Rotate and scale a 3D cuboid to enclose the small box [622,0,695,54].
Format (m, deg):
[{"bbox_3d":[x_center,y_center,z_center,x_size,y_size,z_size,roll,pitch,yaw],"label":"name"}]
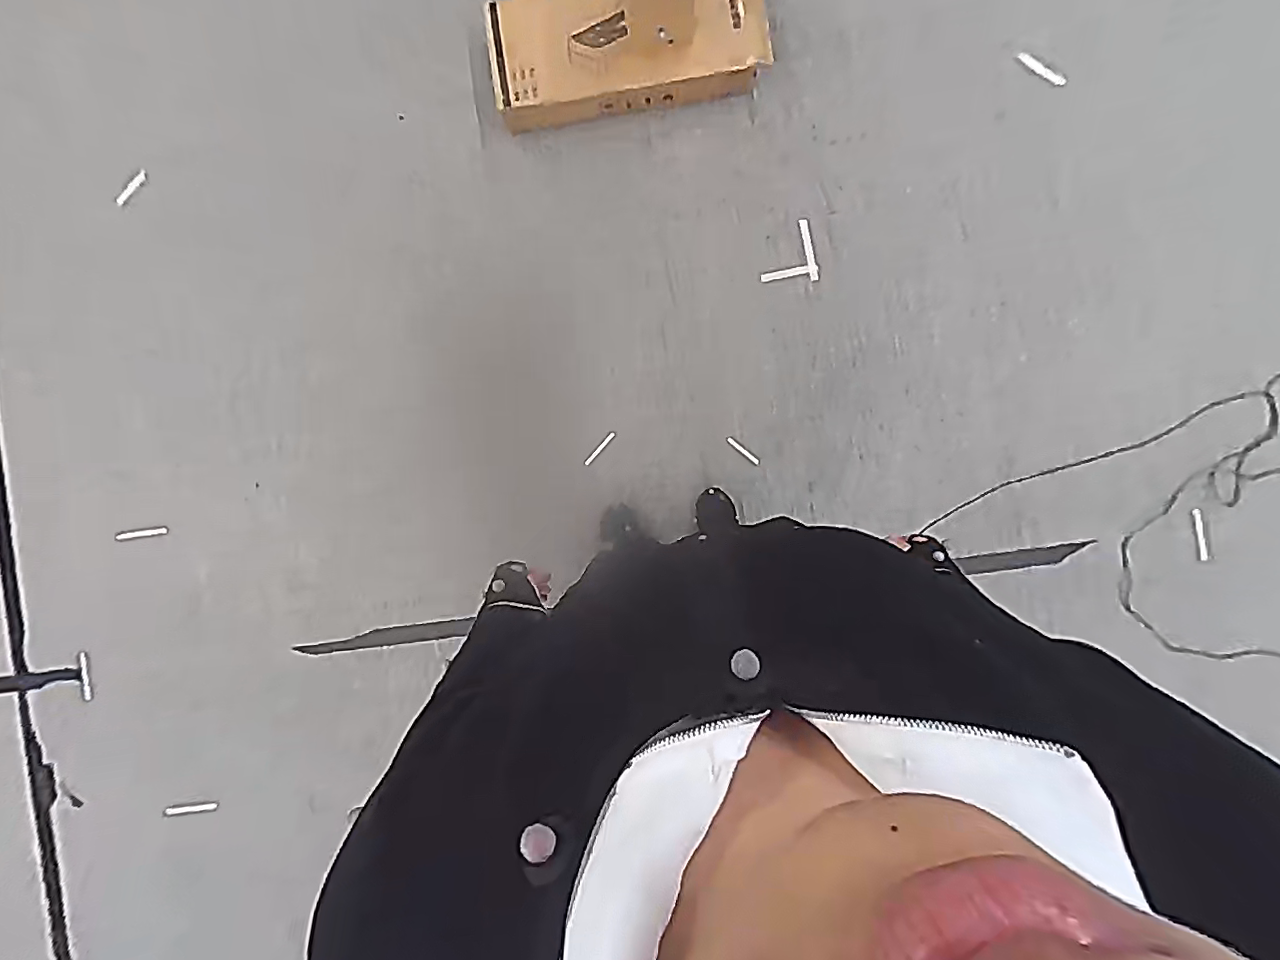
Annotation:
[{"bbox_3d":[0.039,-1.217,1.341,0.168,0.176,0.179,-9,88,3],"label":"small box"}]
